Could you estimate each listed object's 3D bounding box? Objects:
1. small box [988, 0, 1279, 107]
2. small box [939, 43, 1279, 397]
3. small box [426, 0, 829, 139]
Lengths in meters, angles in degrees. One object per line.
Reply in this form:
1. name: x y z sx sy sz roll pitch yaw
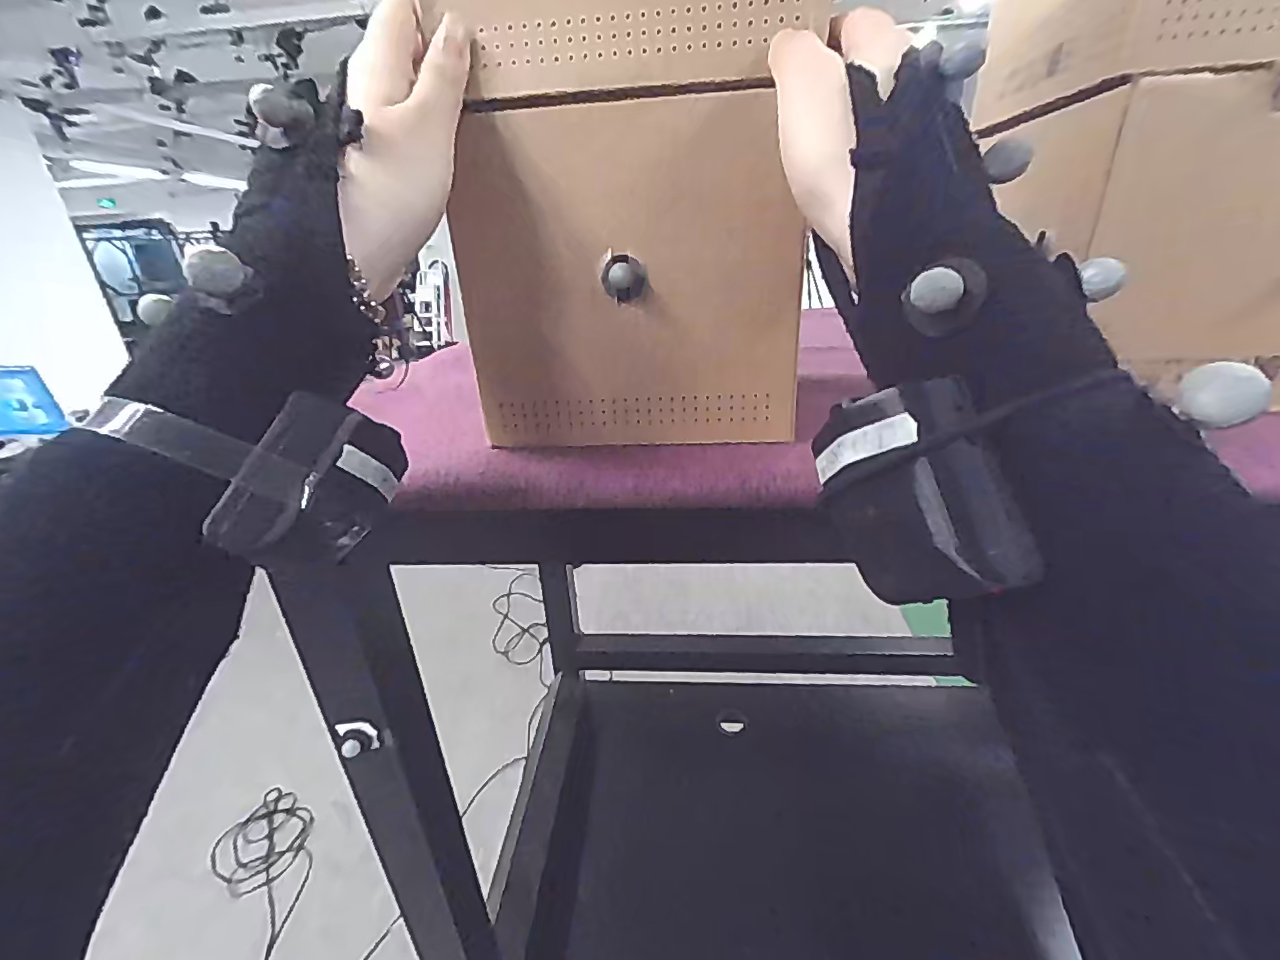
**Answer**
1. small box: 0.311 -0.303 0.279 0.179 0.176 0.168 0 25 7
2. small box: 0.319 -0.153 0.346 0.168 0.176 0.179 1 23 7
3. small box: -0.007 -0.283 0.270 0.179 0.176 0.168 -2 24 4
